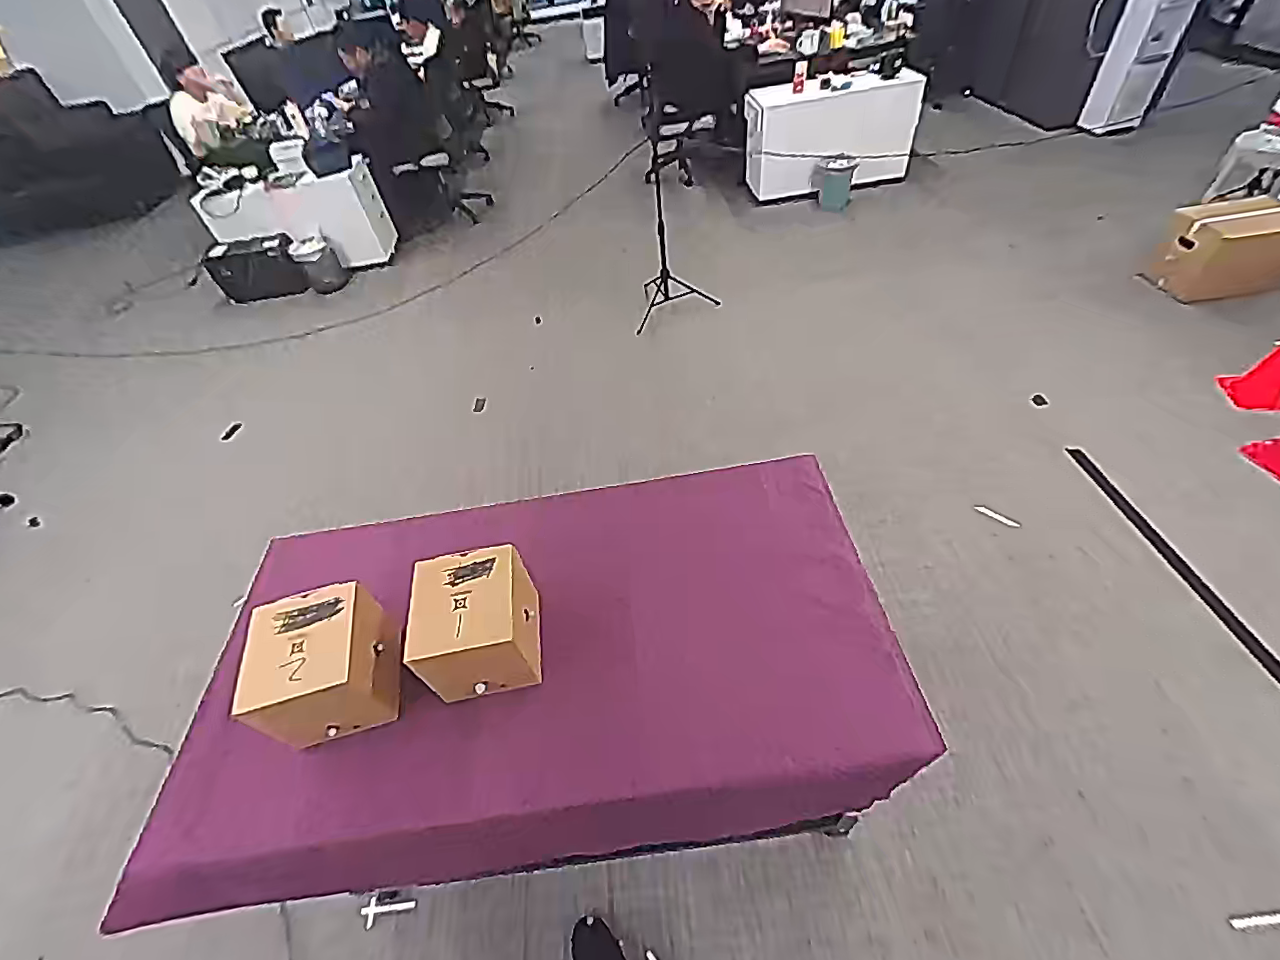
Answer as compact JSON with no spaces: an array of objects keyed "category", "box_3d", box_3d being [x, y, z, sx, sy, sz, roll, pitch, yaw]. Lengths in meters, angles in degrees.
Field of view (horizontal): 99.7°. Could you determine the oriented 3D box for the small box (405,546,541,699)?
[{"category":"small box","box_3d":[-0.267,0.239,0.906,0.168,0.176,0.179,-11,48,-1]}]
